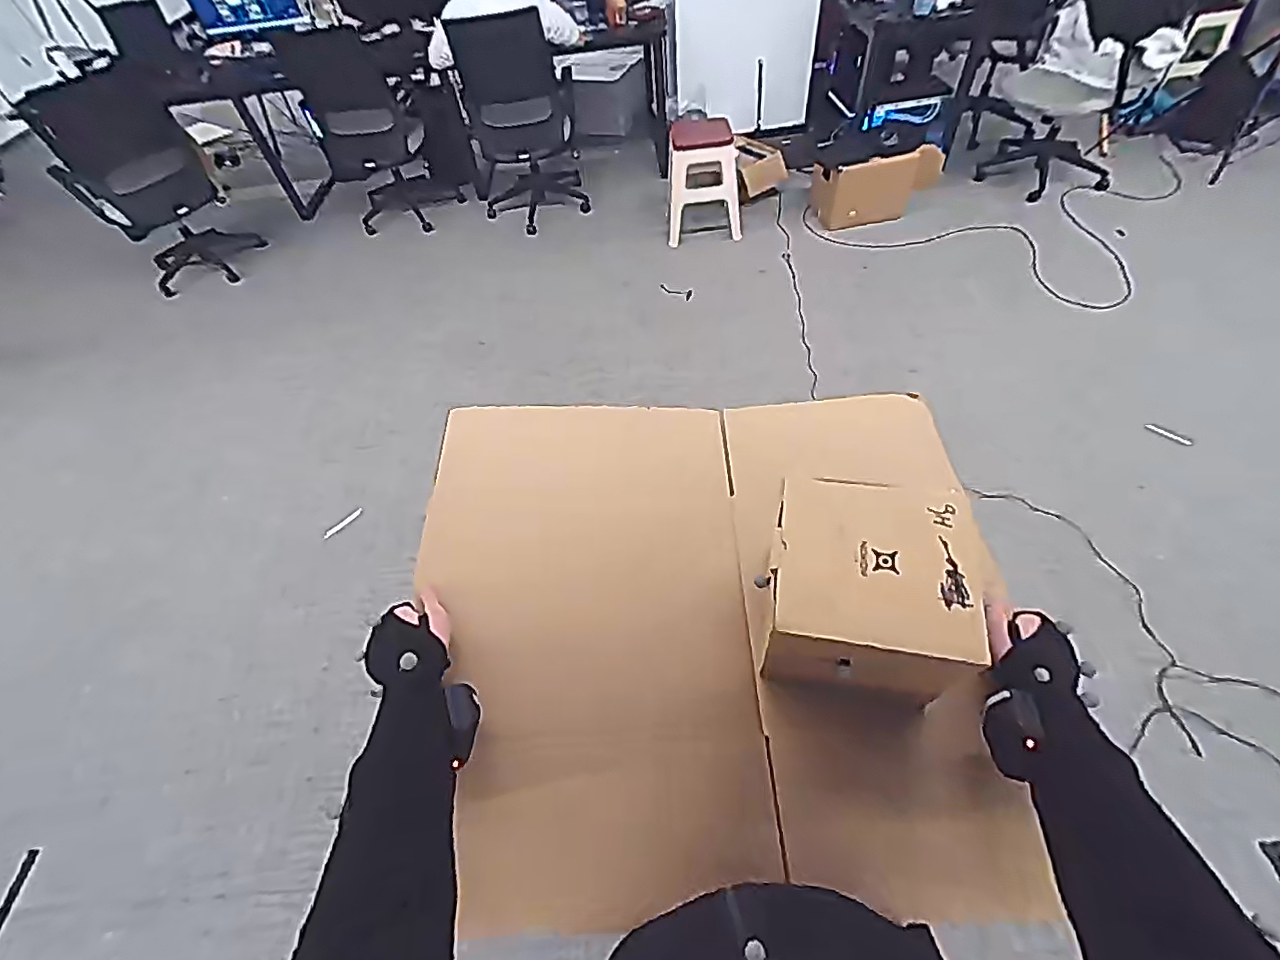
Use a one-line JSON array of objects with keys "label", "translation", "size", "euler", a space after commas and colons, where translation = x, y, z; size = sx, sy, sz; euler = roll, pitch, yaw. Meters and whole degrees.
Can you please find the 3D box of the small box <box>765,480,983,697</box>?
[{"label": "small box", "translation": [0.228, 0.118, 0.572], "size": [0.179, 0.176, 0.168], "euler": [5, 58, 13]}]
